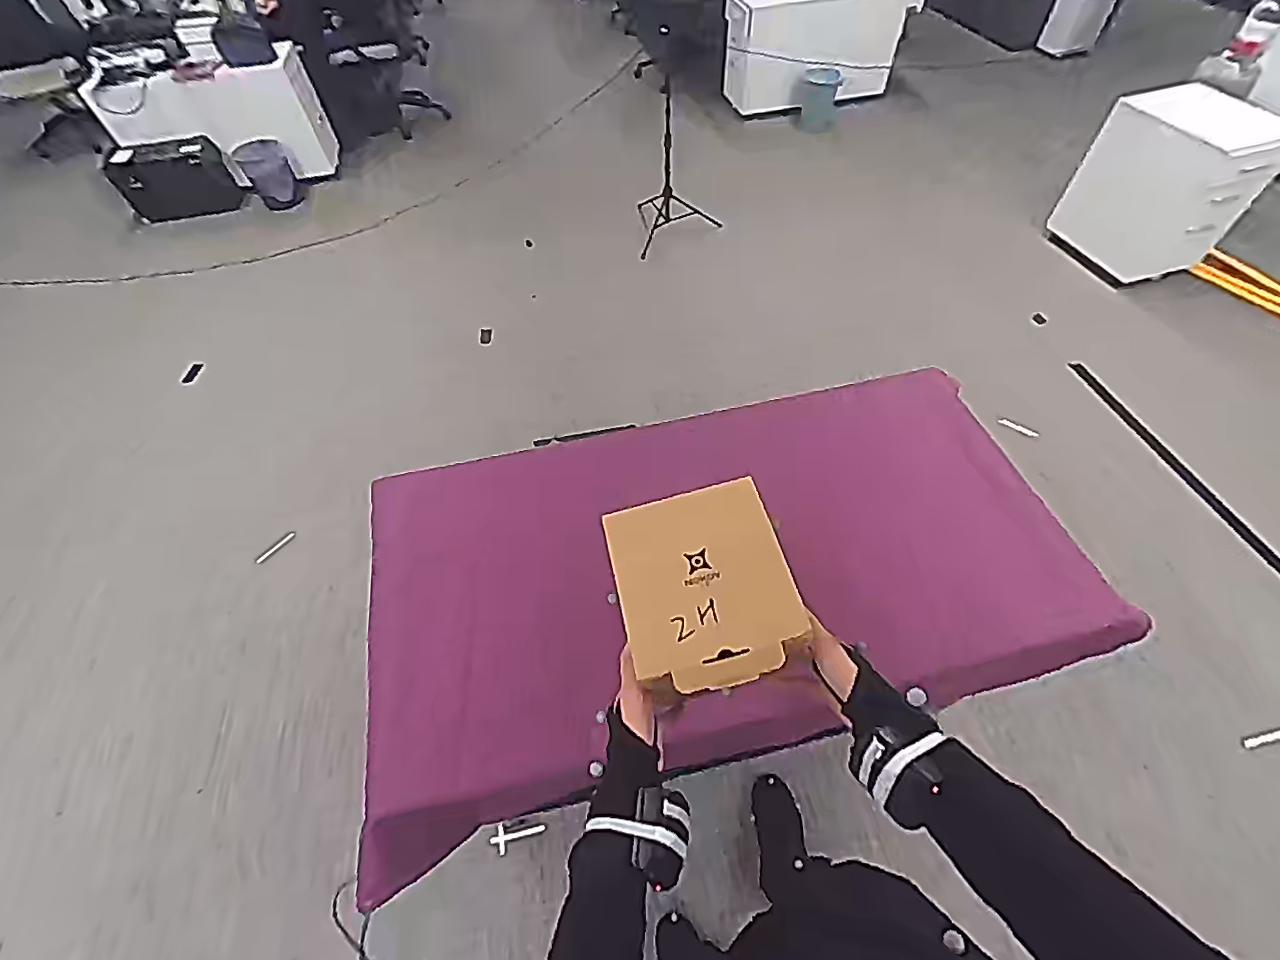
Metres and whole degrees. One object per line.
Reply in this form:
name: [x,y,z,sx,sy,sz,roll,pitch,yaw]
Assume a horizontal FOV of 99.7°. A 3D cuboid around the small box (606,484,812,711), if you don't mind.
small box: [0.069,0.134,0.594,0.168,0.176,0.179,-15,58,0]
